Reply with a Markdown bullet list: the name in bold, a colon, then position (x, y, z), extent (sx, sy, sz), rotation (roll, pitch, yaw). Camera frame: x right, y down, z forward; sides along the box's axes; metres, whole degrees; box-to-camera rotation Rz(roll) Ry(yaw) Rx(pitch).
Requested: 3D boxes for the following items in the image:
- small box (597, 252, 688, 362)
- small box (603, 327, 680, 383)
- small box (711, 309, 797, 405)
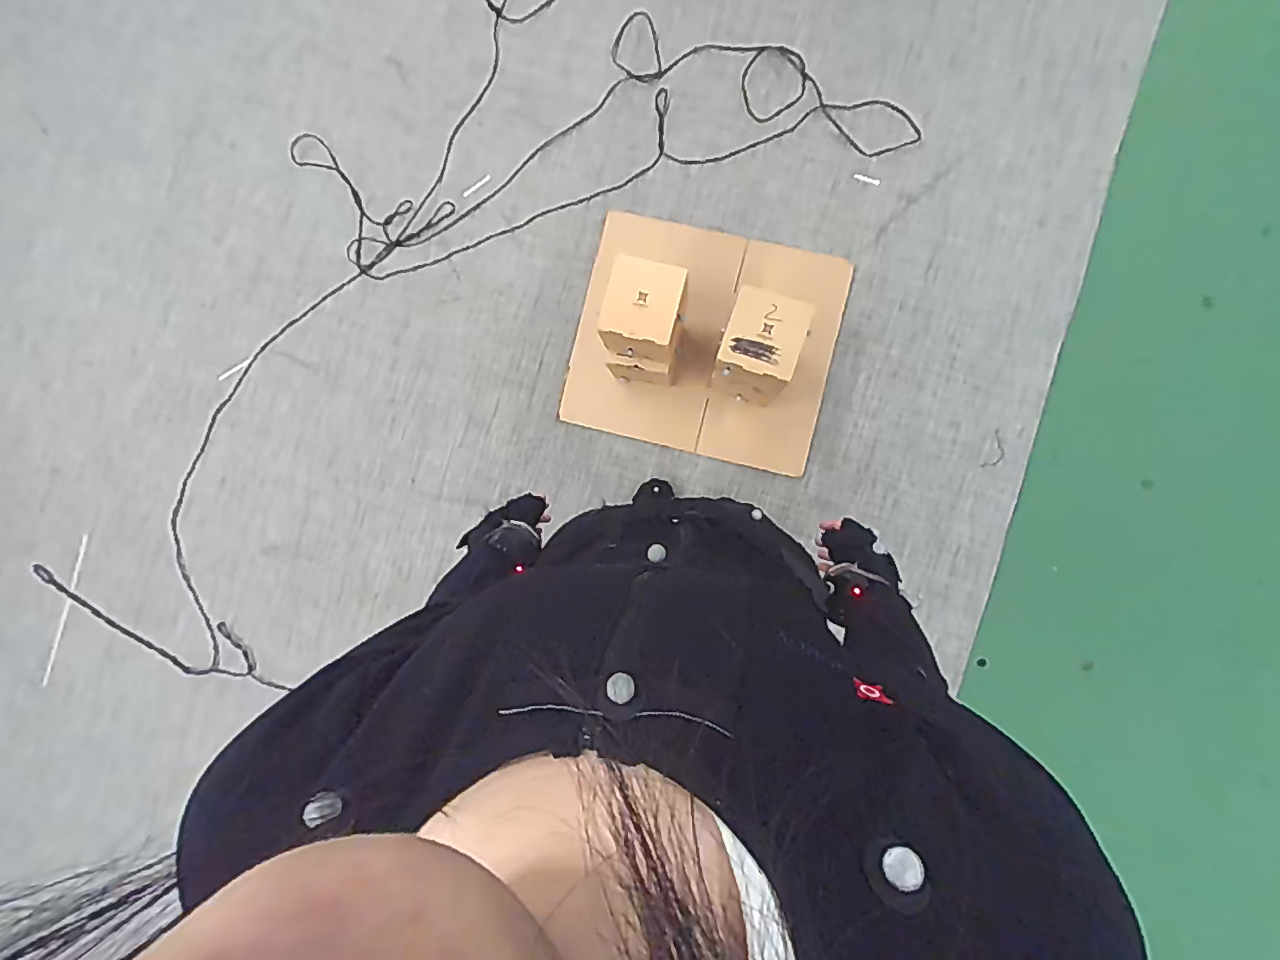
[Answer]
- **small box**: position (0.009, -0.391, 1.251), extent (0.168, 0.176, 0.179), rotation (15, 90, 5)
- **small box**: position (0.011, -0.361, 1.413), extent (0.168, 0.176, 0.179), rotation (12, 90, 5)
- **small box**: position (0.284, -0.310, 1.392), extent (0.168, 0.176, 0.179), rotation (19, 91, 6)
